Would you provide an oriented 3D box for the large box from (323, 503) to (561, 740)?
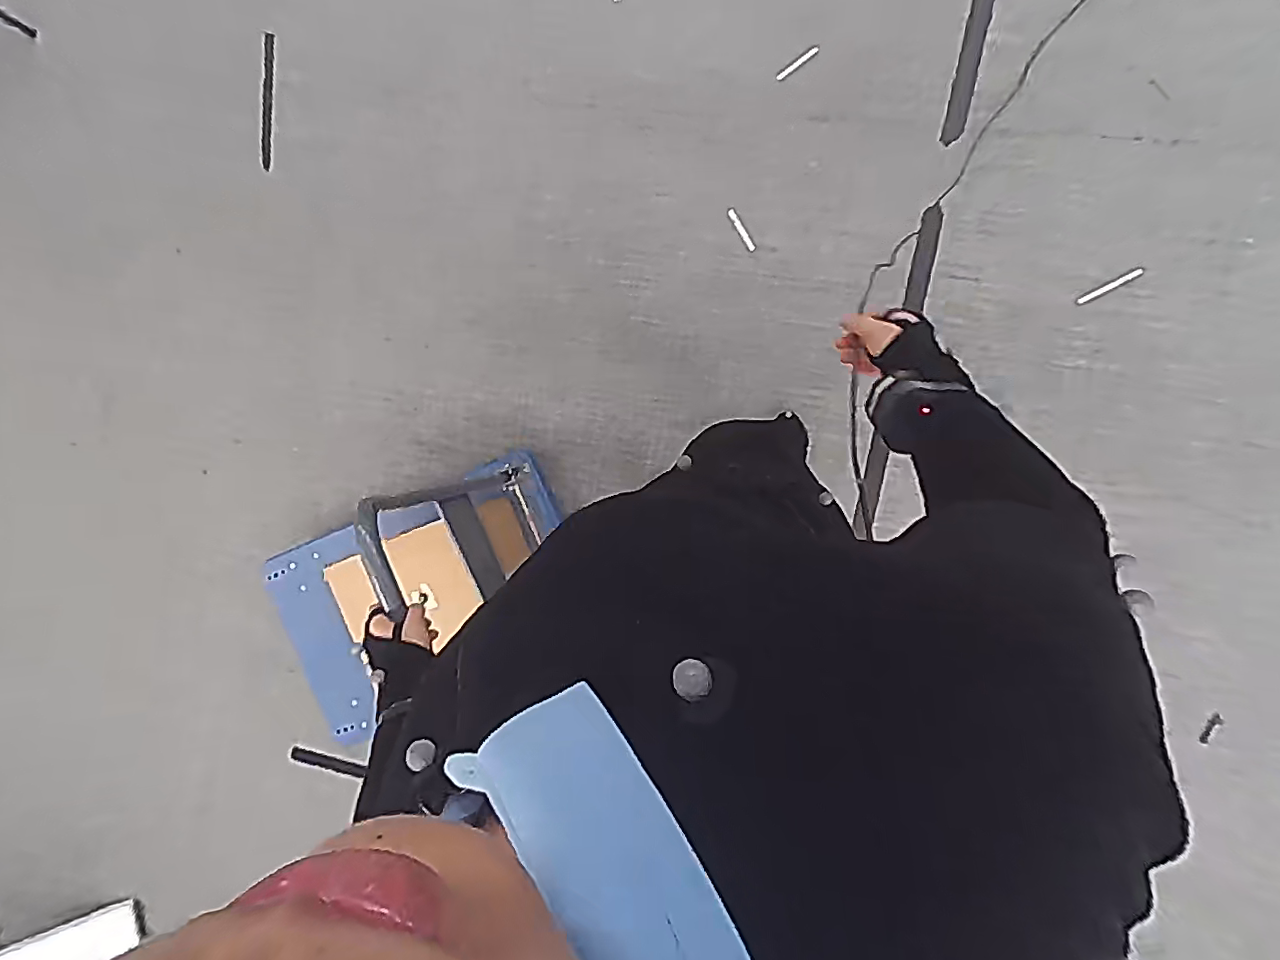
[{"bbox_3d":[-0.434,0.308,1.267,0.320,0.320,0.408,-21,92,10],"label":"large box"}]
